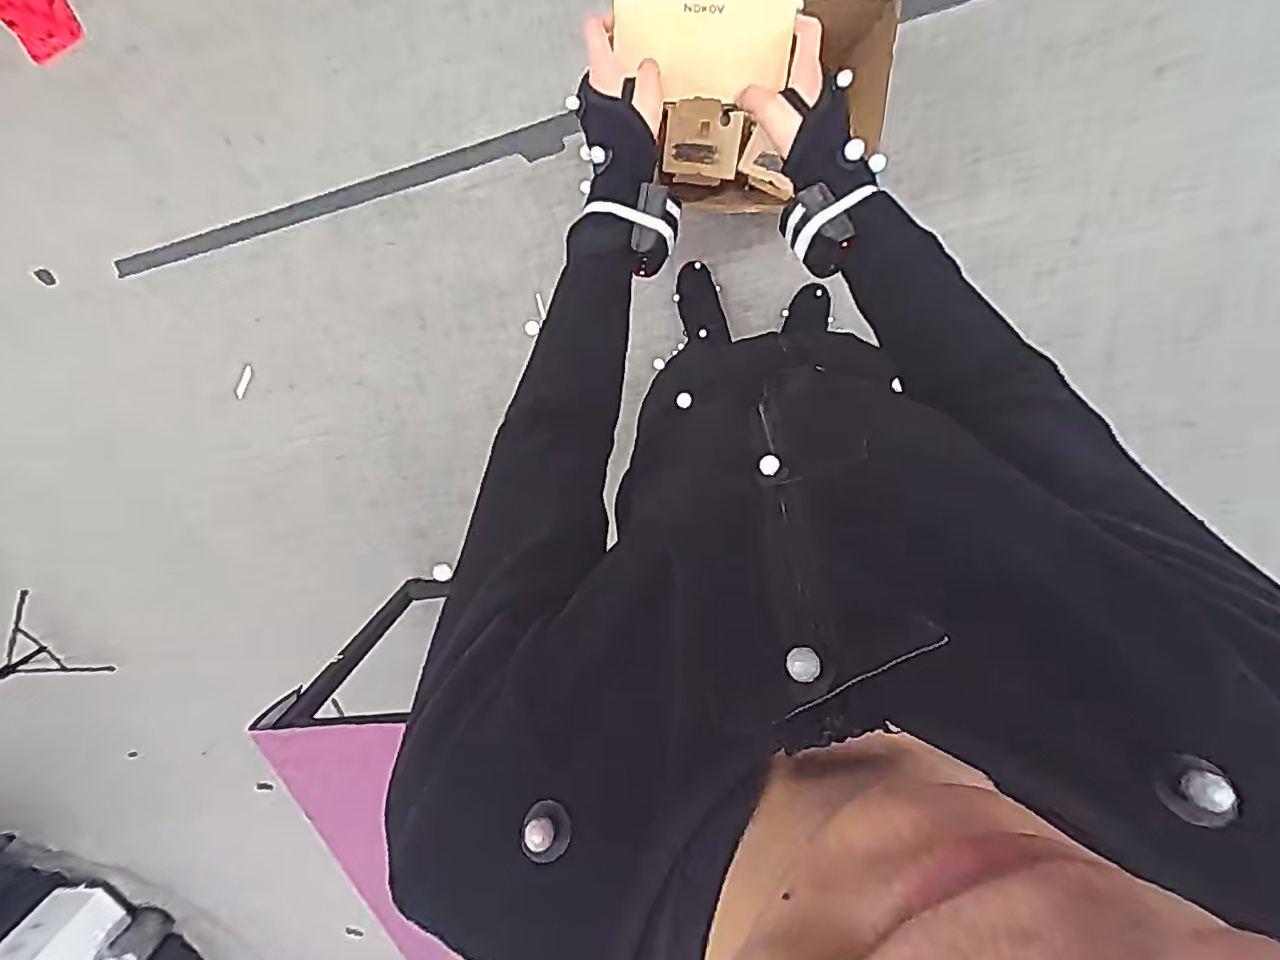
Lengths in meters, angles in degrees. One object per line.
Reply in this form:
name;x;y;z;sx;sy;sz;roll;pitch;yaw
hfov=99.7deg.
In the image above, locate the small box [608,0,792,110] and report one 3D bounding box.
small box;0.056;-0.478;0.539;0.168;0.176;0.179;2;123;0
